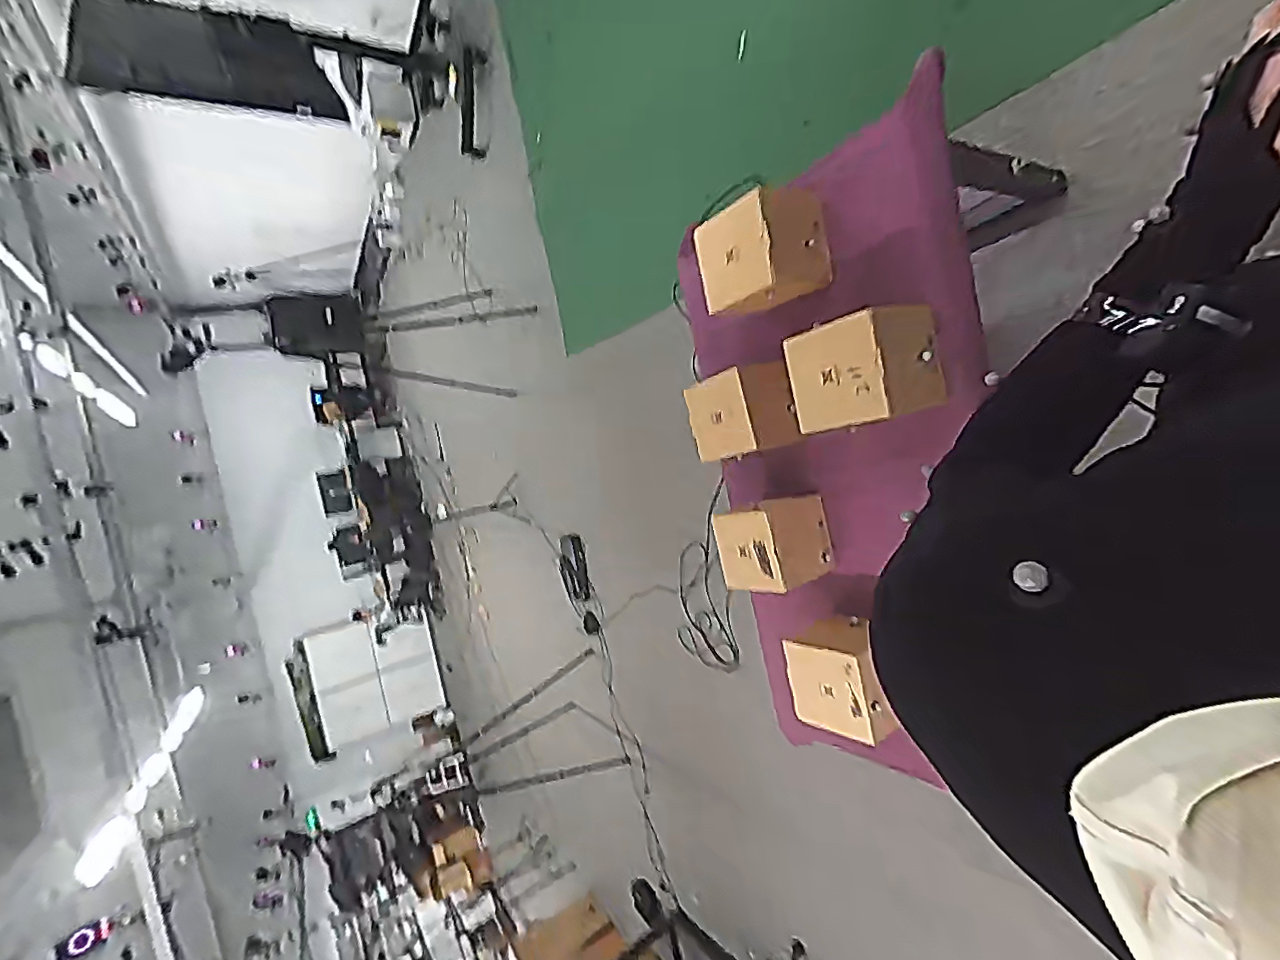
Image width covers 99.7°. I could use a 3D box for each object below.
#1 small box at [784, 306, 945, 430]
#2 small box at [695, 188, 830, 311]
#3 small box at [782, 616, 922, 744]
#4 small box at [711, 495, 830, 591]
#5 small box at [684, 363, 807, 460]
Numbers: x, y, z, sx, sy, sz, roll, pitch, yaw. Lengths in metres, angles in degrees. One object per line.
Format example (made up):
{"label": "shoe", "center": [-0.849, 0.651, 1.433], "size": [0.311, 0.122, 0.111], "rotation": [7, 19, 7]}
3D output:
{"label": "small box", "center": [0.379, -0.187, 0.918], "size": [0.179, 0.176, 0.168], "rotation": [-8, 95, 58]}
{"label": "small box", "center": [0.236, -0.434, 1.047], "size": [0.179, 0.176, 0.168], "rotation": [-7, 96, 56]}
{"label": "small box", "center": [0.414, 0.377, 1.061], "size": [0.179, 0.176, 0.168], "rotation": [-10, 94, 57]}
{"label": "small box", "center": [0.287, 0.133, 1.169], "size": [0.179, 0.176, 0.168], "rotation": [-13, 90, 57]}
{"label": "small box", "center": [0.226, -0.145, 1.163], "size": [0.179, 0.176, 0.168], "rotation": [-13, 91, 56]}
